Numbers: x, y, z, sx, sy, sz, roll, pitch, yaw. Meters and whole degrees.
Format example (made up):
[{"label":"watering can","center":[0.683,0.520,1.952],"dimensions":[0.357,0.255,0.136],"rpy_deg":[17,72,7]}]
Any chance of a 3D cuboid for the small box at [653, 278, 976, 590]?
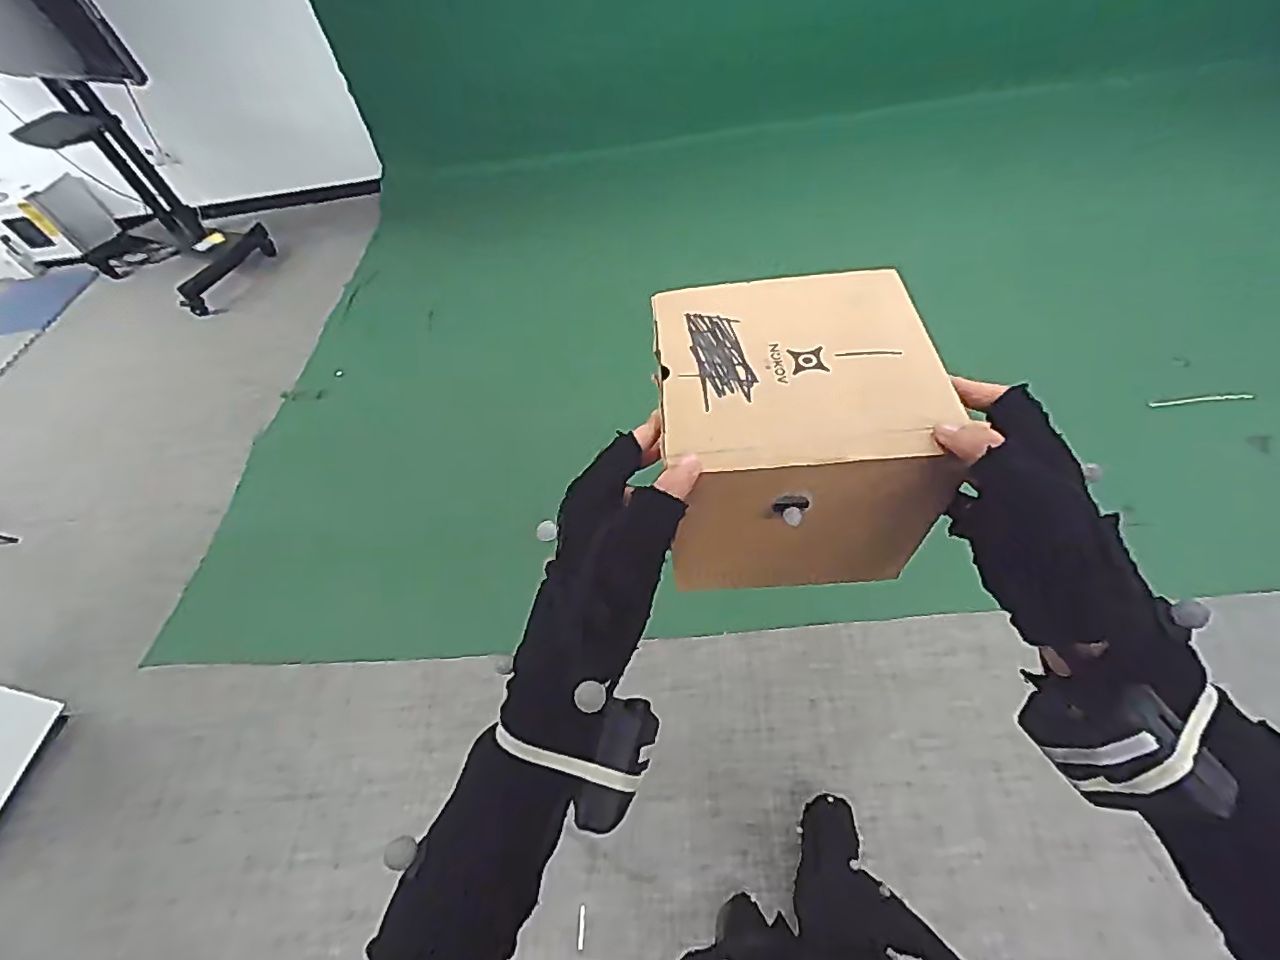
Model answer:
[{"label":"small box","center":[0.106,-0.025,0.411],"dimensions":[0.179,0.176,0.168],"rpy_deg":[-4,55,4]}]
